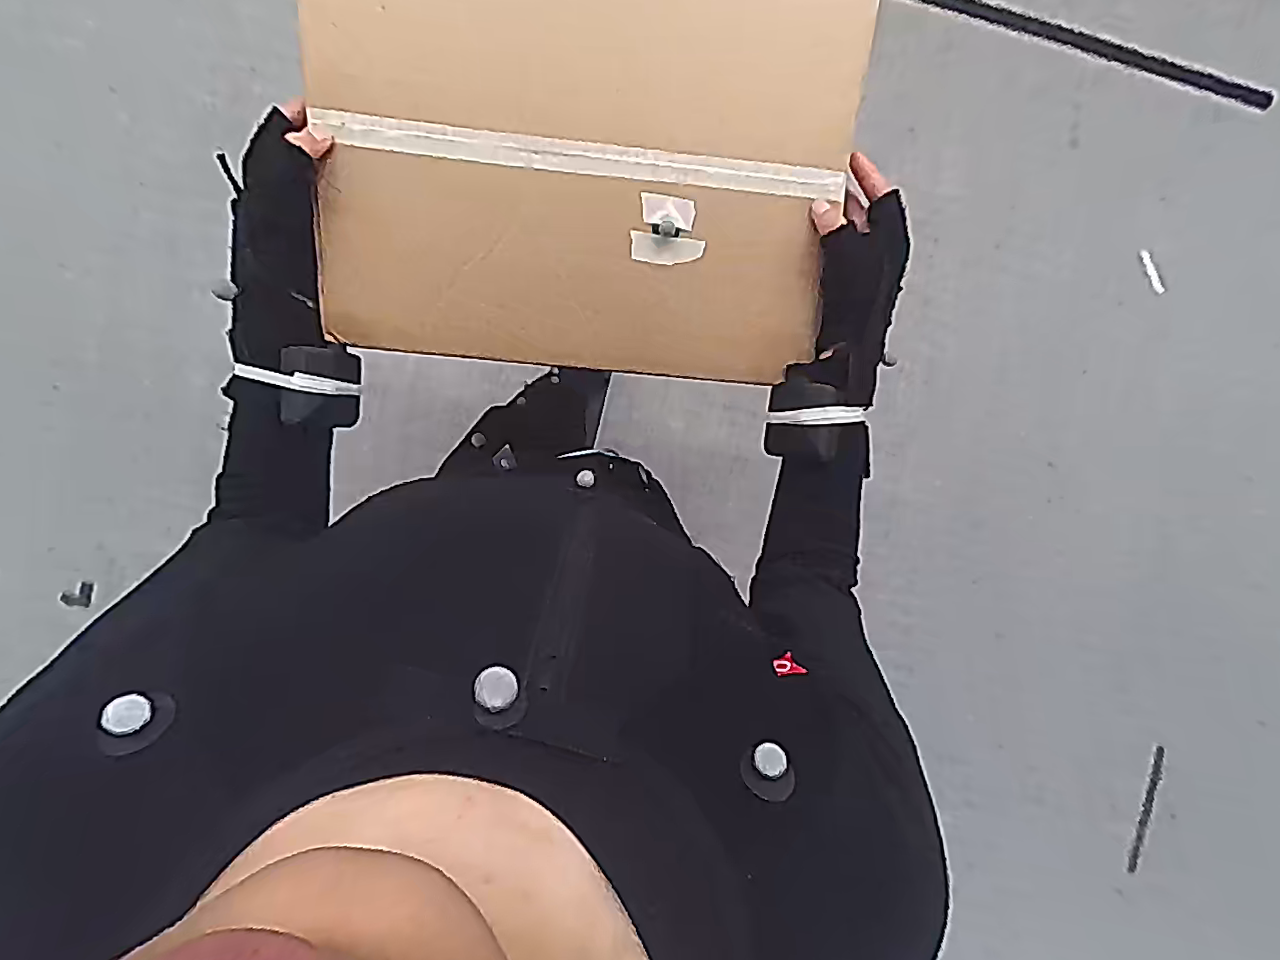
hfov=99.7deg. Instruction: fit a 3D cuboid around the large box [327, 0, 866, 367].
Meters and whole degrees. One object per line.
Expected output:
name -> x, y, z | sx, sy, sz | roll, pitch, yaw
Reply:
large box -> -0.046, -0.300, 0.570 | 0.408, 0.320, 0.320 | 4, 107, -5
